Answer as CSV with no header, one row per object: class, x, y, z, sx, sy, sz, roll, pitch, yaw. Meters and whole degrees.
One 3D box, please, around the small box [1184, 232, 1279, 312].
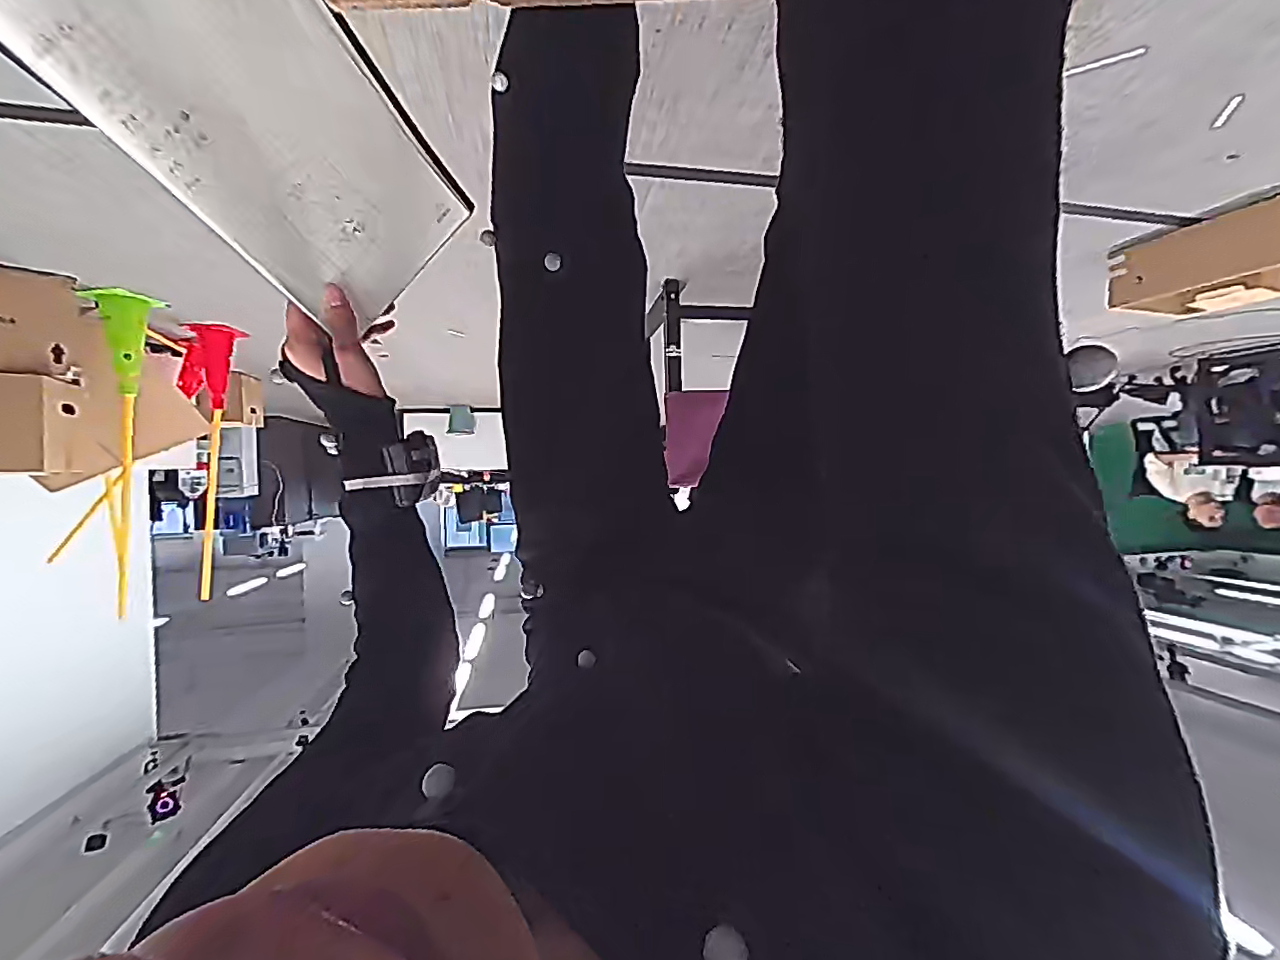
small box,1.767,-0.618,1.612,0.179,0.176,0.168,-1,180,-25
